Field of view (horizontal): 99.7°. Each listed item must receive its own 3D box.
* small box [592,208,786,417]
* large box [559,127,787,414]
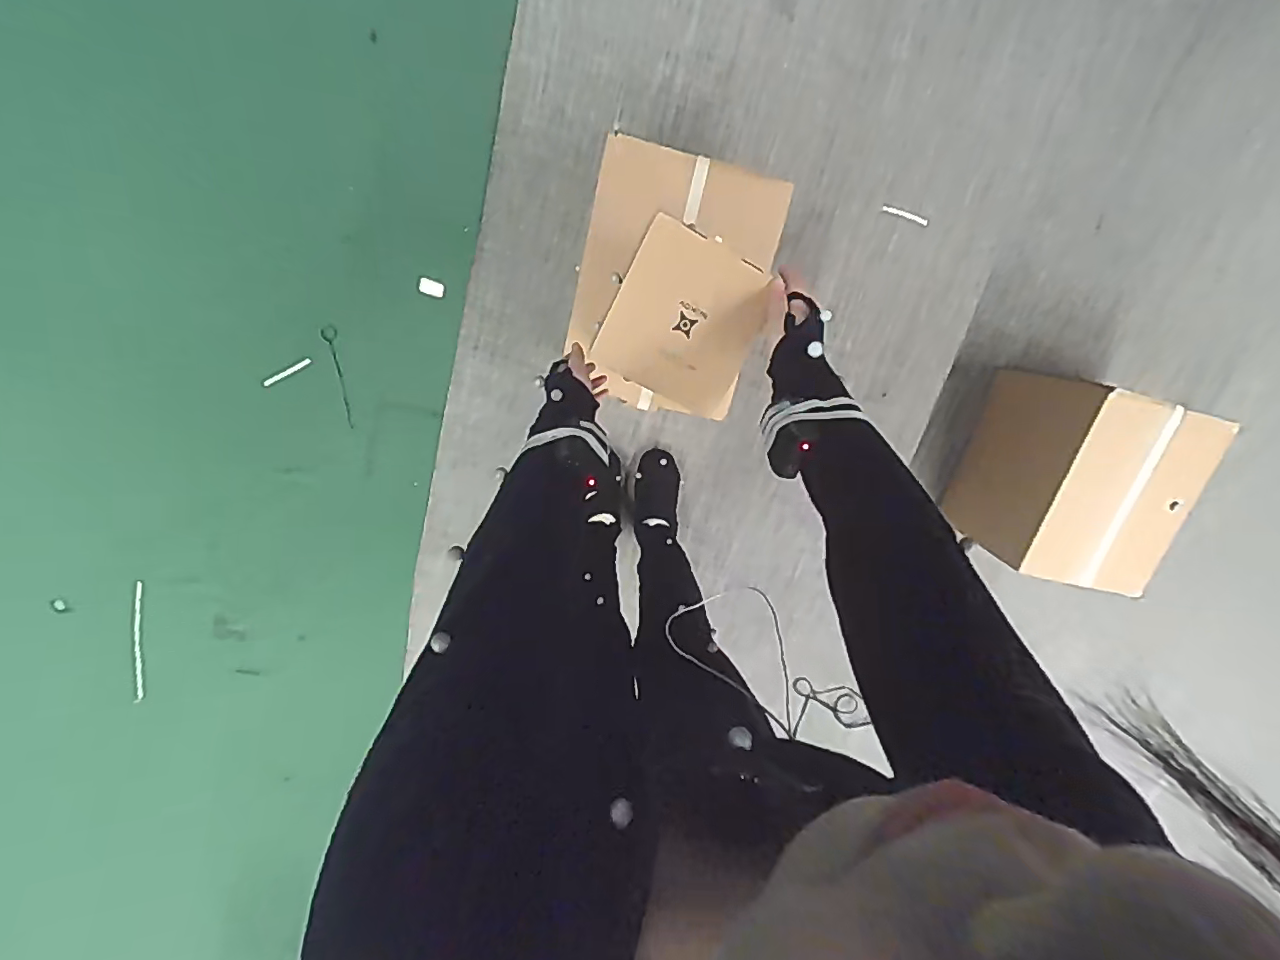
[{"bbox_3d":[0.048,-0.207,0.680,0.168,0.176,0.179,26,106,-12],"label":"small box"},{"bbox_3d":[0.039,-0.377,1.050,0.320,0.320,0.408,12,107,-9],"label":"large box"}]
